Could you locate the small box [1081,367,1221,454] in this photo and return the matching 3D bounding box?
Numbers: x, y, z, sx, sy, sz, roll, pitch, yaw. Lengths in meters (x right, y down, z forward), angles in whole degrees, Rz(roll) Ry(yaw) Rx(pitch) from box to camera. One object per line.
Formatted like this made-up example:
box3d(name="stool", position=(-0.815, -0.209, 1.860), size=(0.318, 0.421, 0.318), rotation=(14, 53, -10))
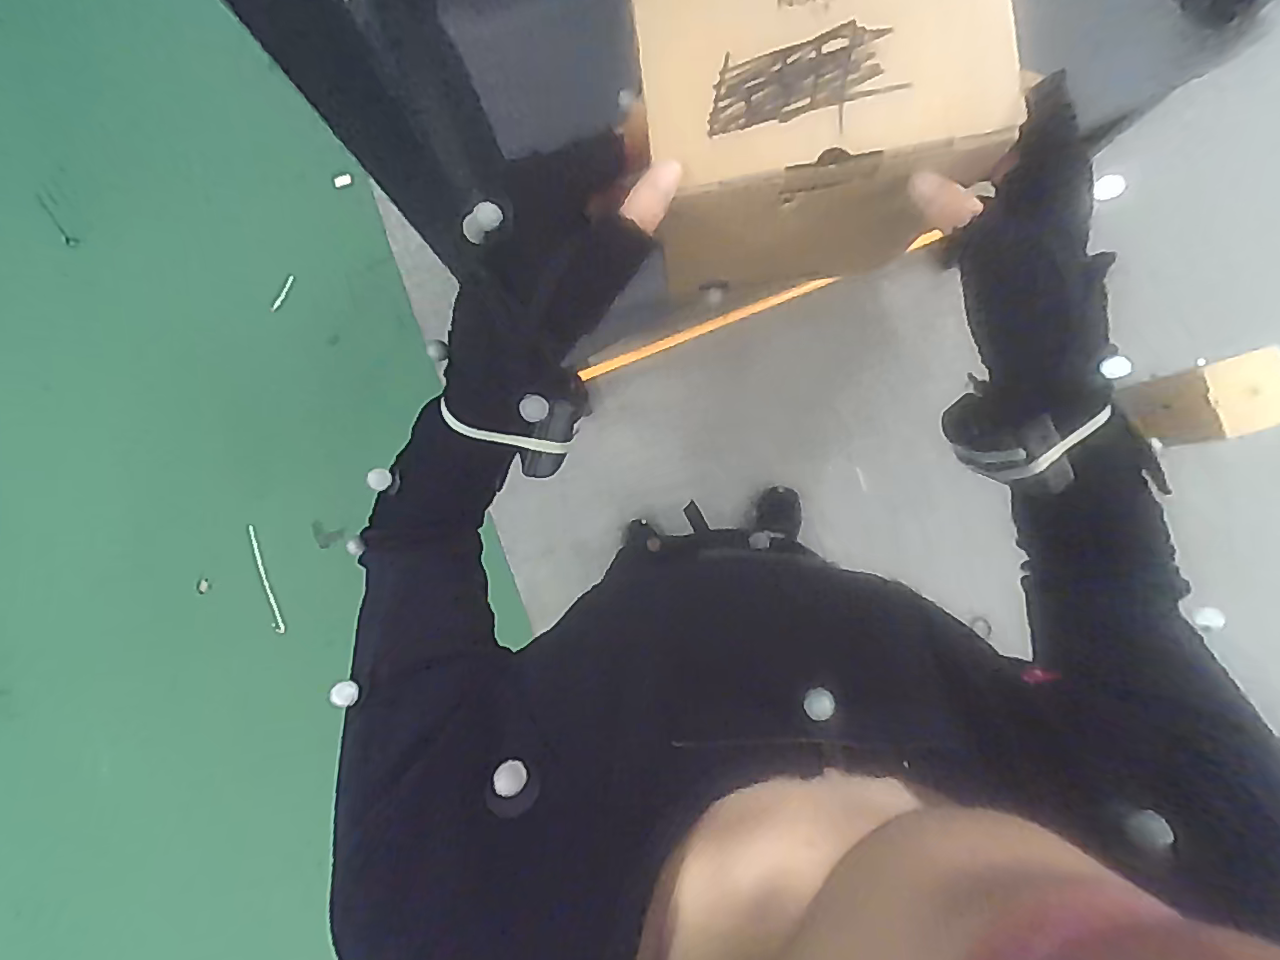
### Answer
box3d(name="small box", position=(1.301, -0.172, 1.389), size=(0.179, 0.176, 0.168), rotation=(-16, 85, 1))
